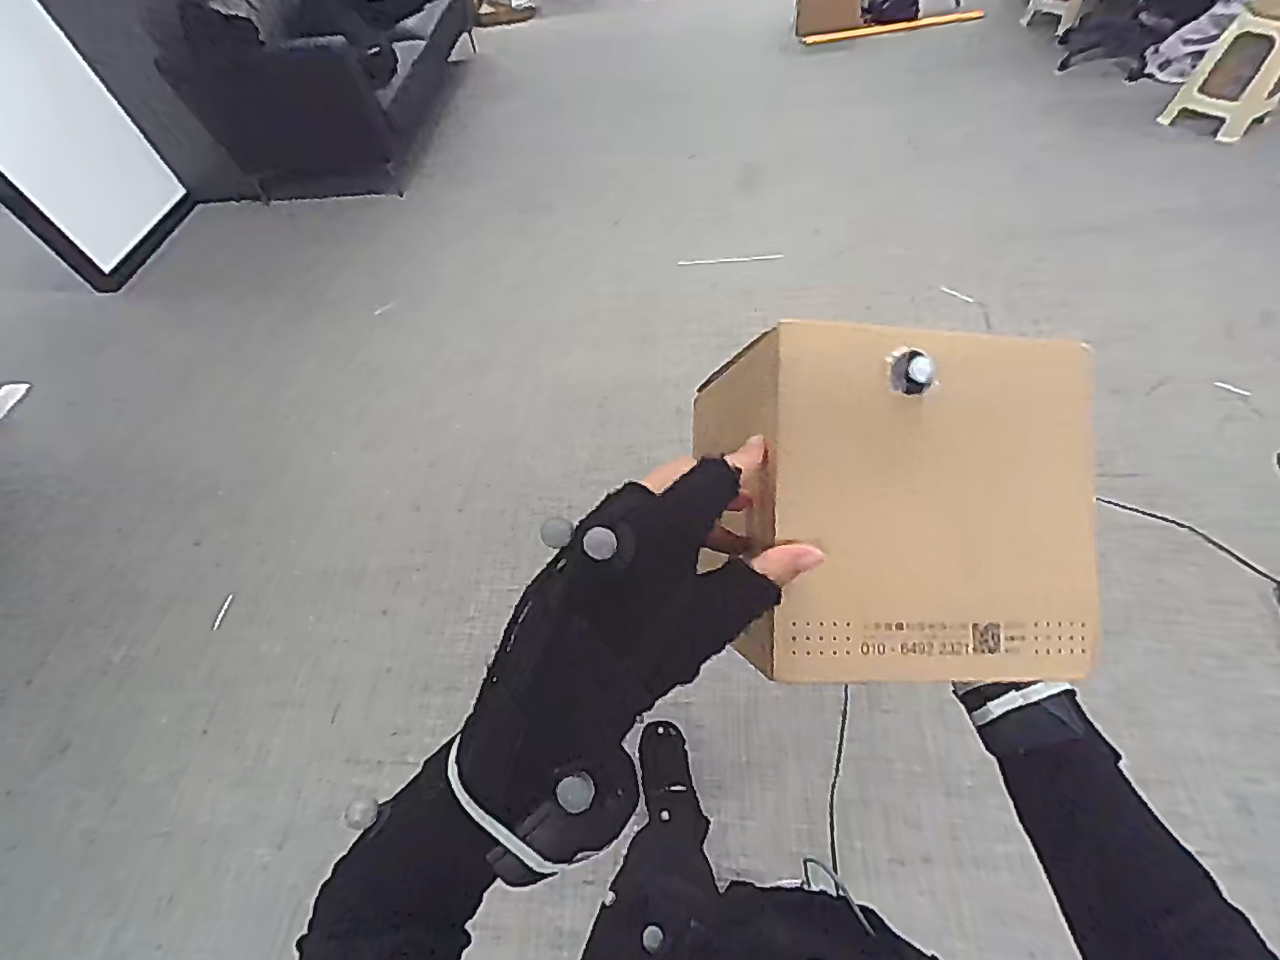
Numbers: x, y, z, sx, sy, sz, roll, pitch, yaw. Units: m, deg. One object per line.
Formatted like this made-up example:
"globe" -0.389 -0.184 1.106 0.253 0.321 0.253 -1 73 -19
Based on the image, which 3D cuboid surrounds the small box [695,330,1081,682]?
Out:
"small box" 0.134 0.019 0.350 0.168 0.179 0.176 2 87 -7
